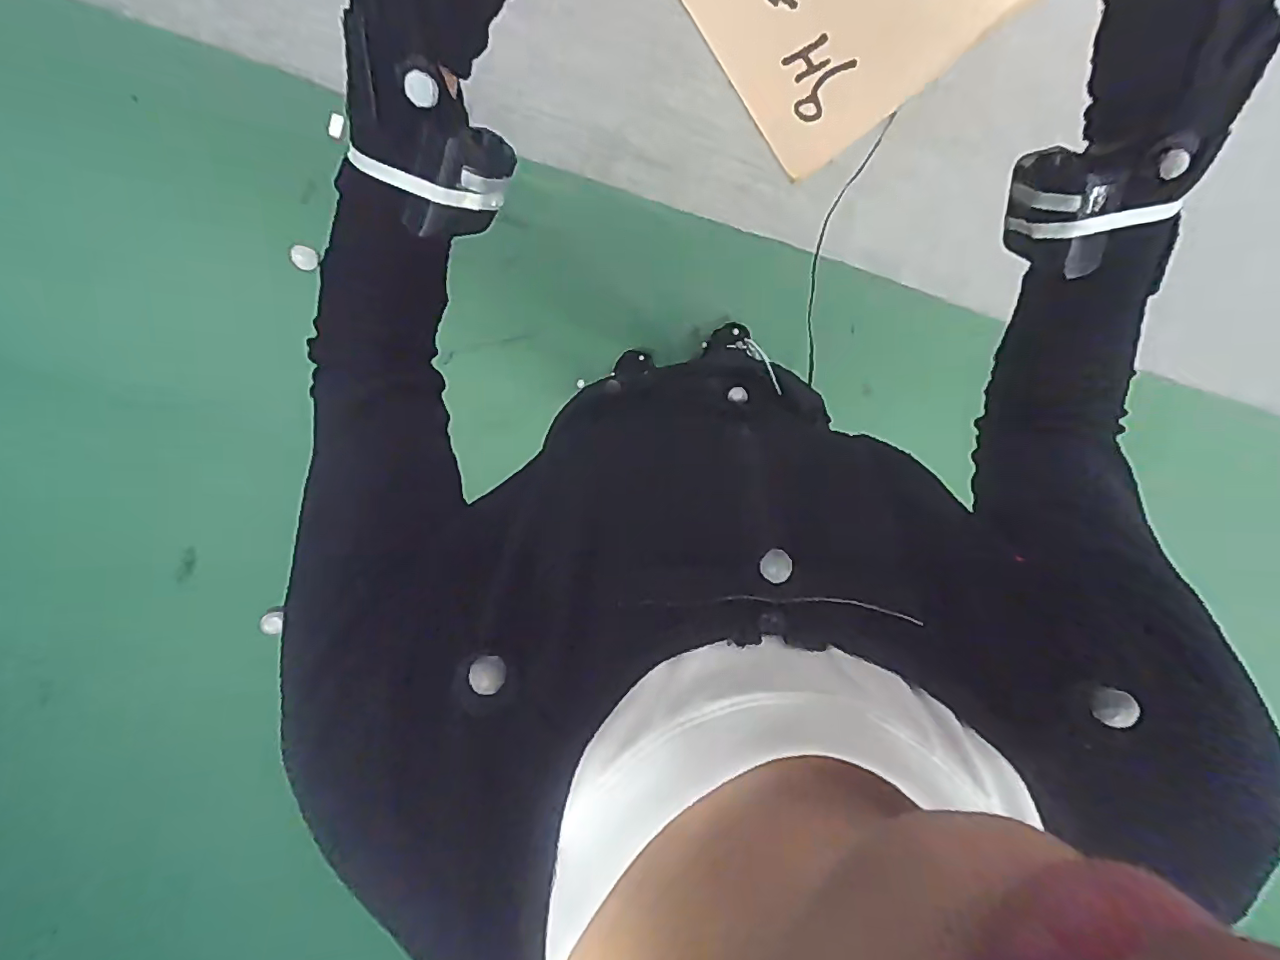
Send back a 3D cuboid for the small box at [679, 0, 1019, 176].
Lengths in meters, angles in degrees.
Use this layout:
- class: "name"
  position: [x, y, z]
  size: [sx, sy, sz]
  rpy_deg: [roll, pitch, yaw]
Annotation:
- class: "small box"
  position: [0.088, -0.271, 0.220]
  size: [0.179, 0.176, 0.168]
  rpy_deg: [-29, 119, 29]
